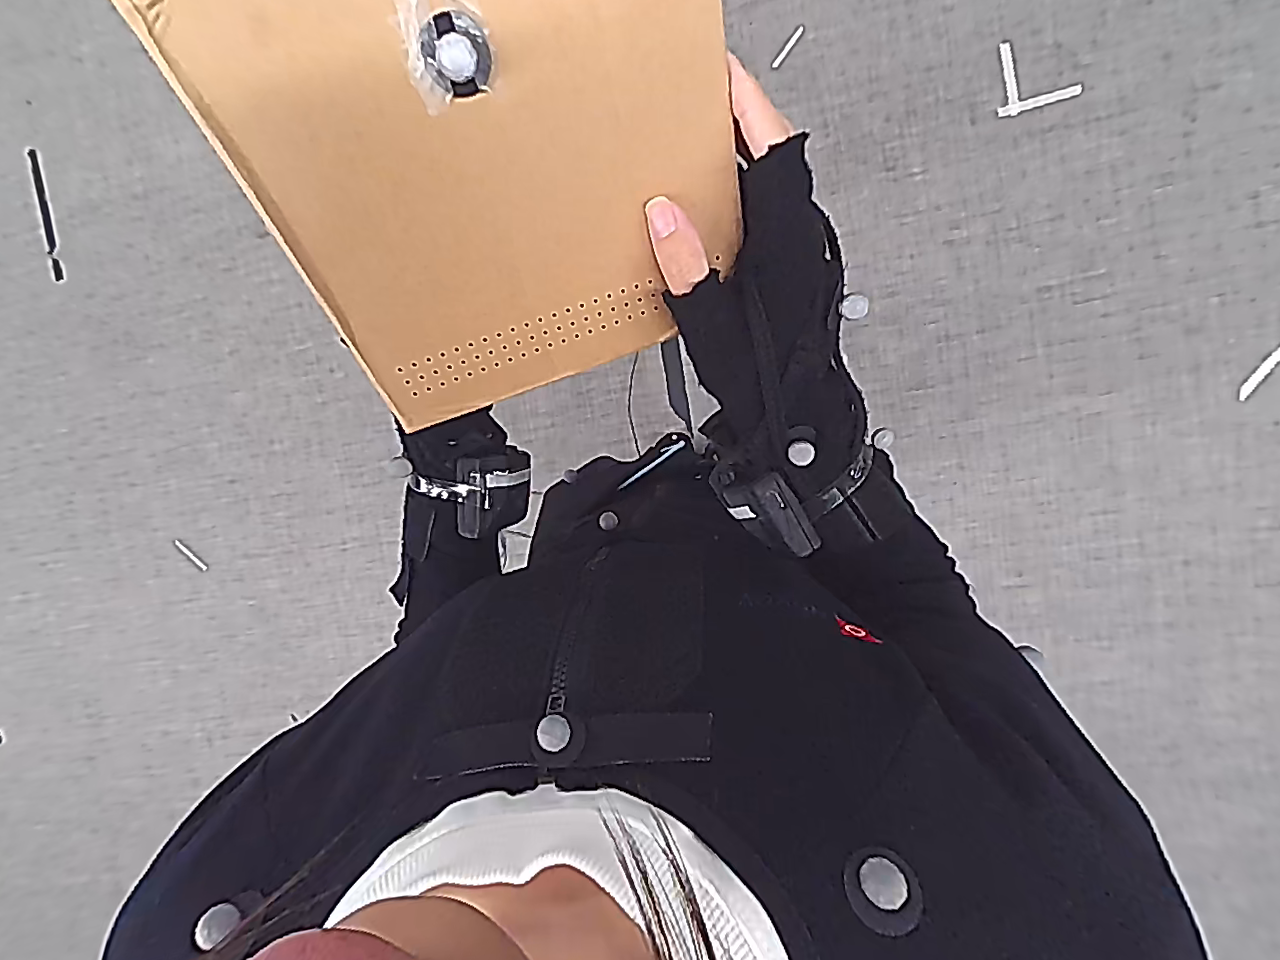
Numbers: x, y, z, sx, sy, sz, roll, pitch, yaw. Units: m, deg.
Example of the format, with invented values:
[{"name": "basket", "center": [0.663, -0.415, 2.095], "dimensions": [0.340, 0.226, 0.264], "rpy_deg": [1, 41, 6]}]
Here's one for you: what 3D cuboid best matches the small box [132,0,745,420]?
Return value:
[{"name": "small box", "center": [-0.064, -0.156, 0.265], "dimensions": [0.179, 0.168, 0.176], "rpy_deg": [-20, 134, -3]}]
